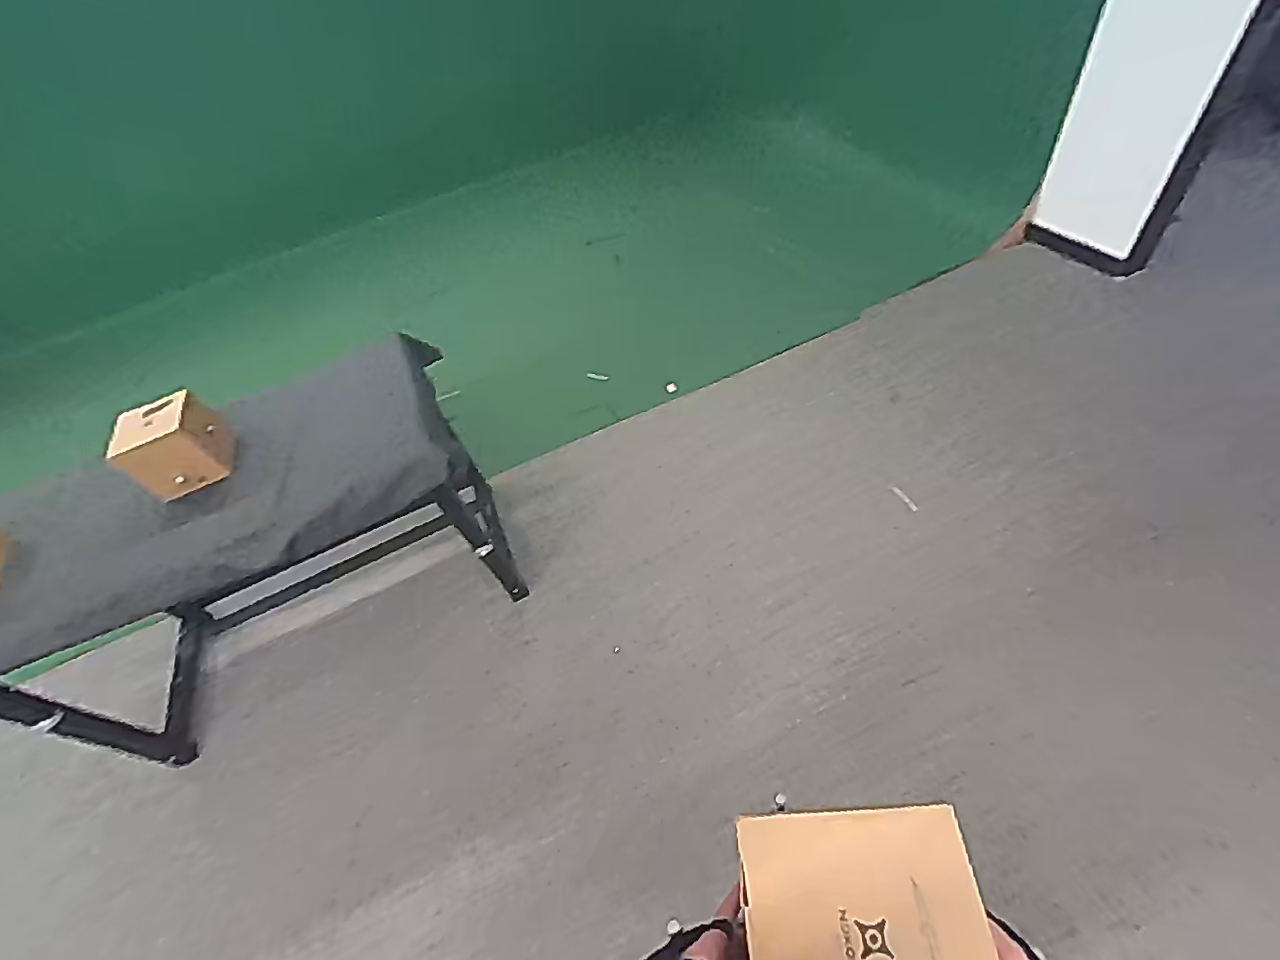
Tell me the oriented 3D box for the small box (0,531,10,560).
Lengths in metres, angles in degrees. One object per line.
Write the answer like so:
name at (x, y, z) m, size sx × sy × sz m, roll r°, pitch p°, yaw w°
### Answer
small box at (-1.611, 0.173, 1.224) m, size 0.168 × 0.176 × 0.179 m, roll -26°, pitch 51°, yaw -10°

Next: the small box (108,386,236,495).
small box at (-1.143, -0.096, 1.340) m, size 0.168 × 0.176 × 0.179 m, roll -25°, pitch 51°, yaw -8°
